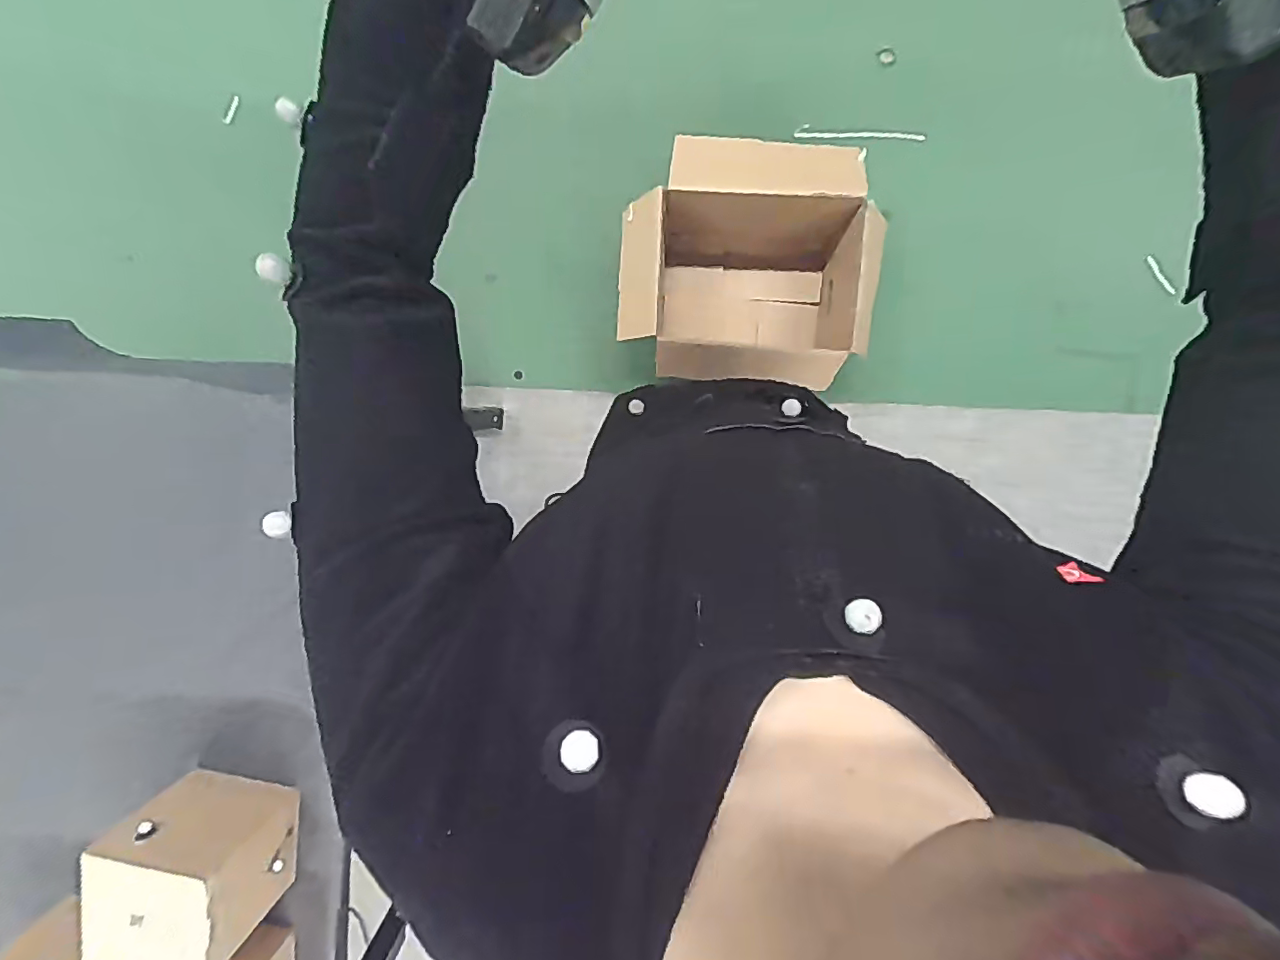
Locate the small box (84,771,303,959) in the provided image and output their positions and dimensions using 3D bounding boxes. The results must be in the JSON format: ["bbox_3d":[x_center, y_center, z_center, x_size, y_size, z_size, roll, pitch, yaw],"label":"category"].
[{"bbox_3d":[-0.624,0.550,0.771,0.179,0.176,0.168,9,98,3],"label":"small box"}]
